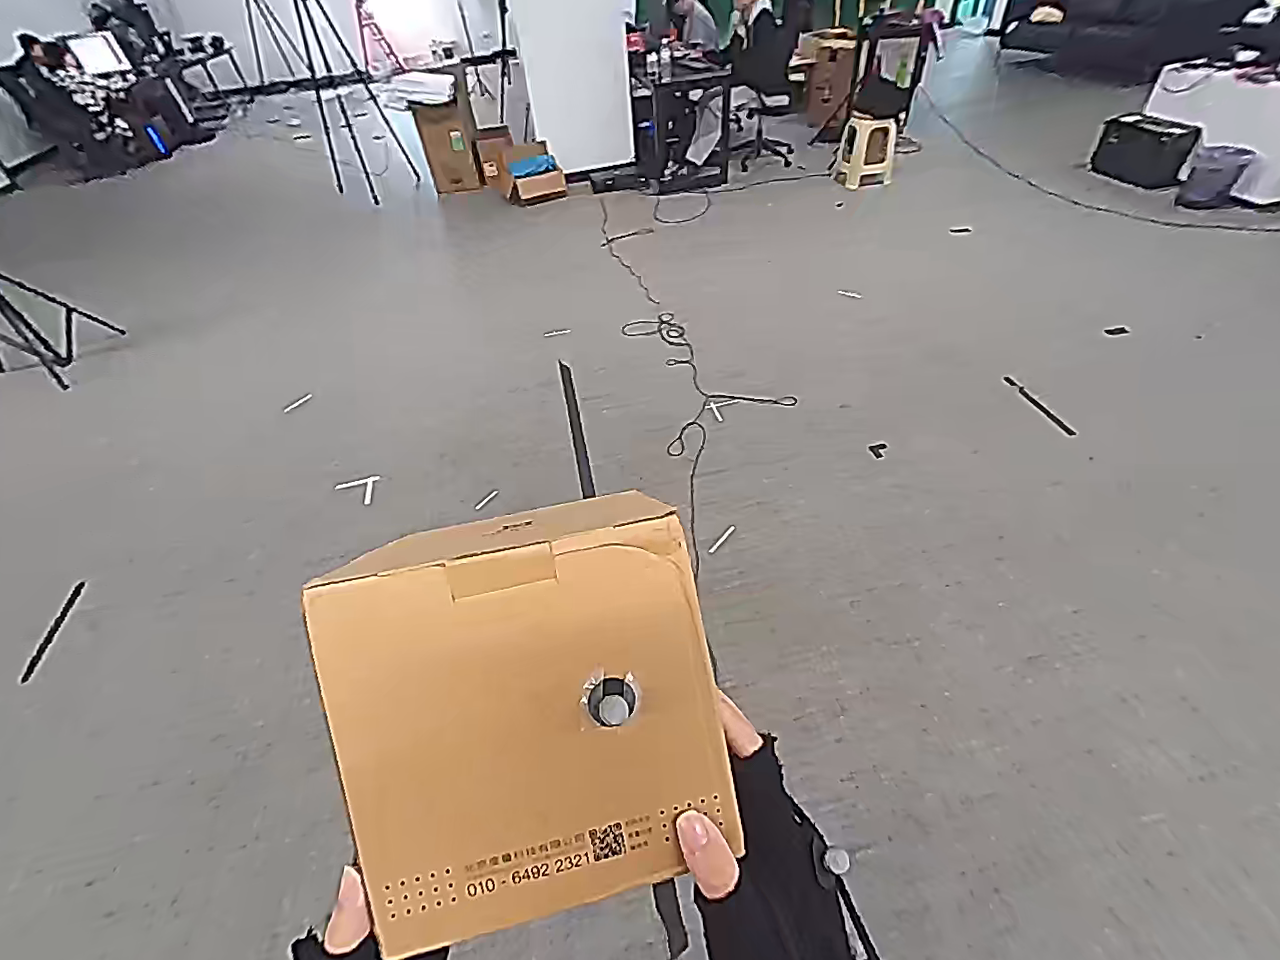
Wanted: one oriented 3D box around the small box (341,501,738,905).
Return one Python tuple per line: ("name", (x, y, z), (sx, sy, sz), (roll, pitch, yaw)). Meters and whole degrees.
("small box", (-0.049, 0.117, 0.336), (0.168, 0.176, 0.179), (-11, 3, -6))
